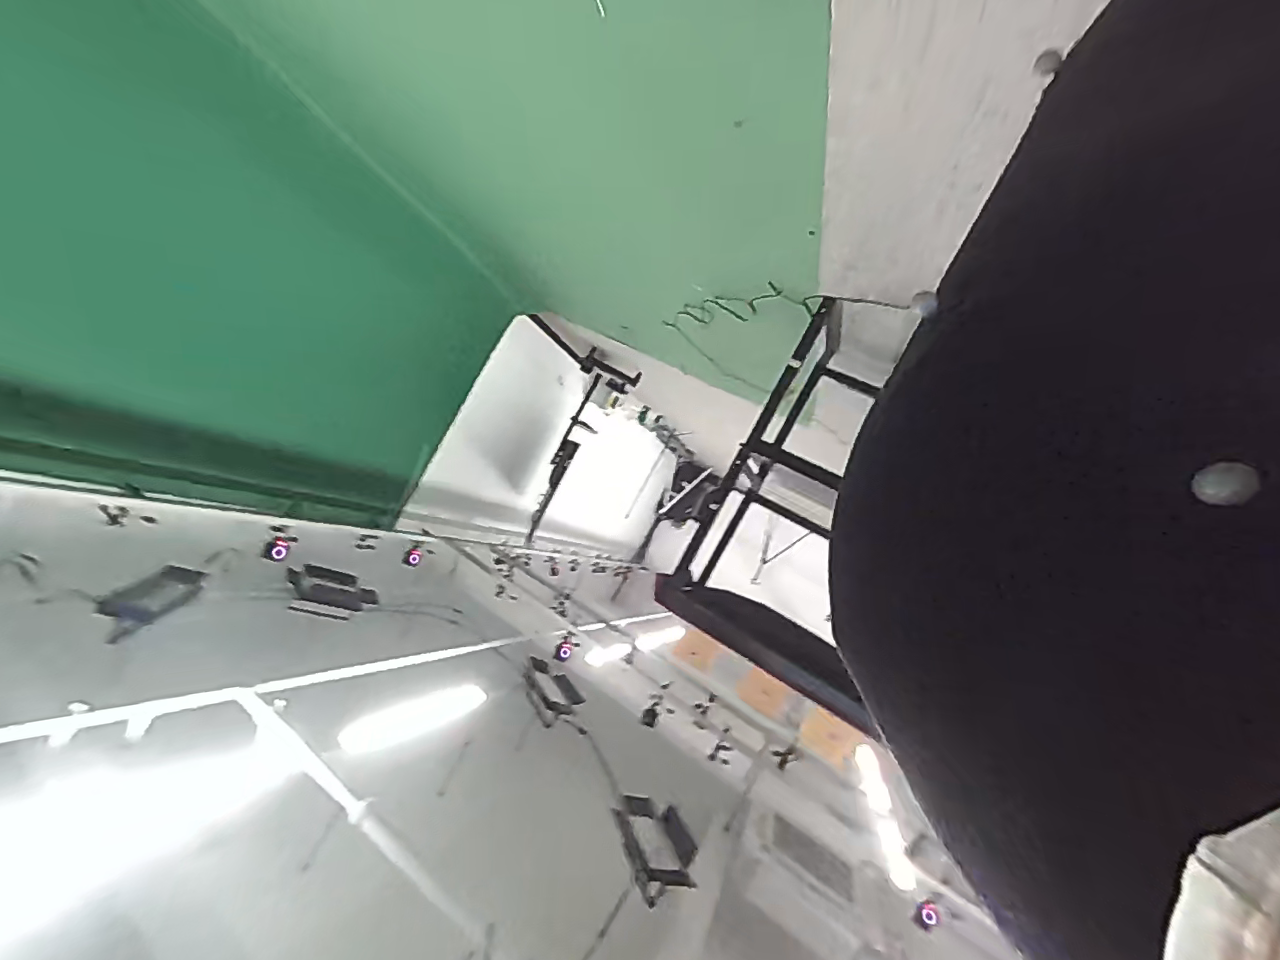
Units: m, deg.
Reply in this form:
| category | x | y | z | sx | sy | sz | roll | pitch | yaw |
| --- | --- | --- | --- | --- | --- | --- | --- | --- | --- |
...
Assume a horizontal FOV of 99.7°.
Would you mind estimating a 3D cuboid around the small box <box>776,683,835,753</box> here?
| category | x | y | z | sx | sy | sz | roll | pitch | yaw |
| --- | --- | --- | --- | --- | --- | --- | --- | --- | --- |
| small box | 0.649 | 0.923 | 2.115 | 0.168 | 0.176 | 0.179 | 29 | -179 | 21 |

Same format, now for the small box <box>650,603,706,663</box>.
| category | x | y | z | sx | sy | sz | roll | pitch | yaw |
| --- | --- | --- | --- | --- | --- | --- | --- | --- | --- |
| small box | 0.172 | 0.654 | 2.330 | 0.179 | 0.176 | 0.168 | 29 | 180 | 16 |

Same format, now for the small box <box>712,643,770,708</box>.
| category | x | y | z | sx | sy | sz | roll | pitch | yaw |
| --- | --- | --- | --- | --- | --- | --- | --- | --- | --- |
| small box | 0.420 | 0.796 | 2.213 | 0.179 | 0.176 | 0.168 | 29 | 180 | 19 |
